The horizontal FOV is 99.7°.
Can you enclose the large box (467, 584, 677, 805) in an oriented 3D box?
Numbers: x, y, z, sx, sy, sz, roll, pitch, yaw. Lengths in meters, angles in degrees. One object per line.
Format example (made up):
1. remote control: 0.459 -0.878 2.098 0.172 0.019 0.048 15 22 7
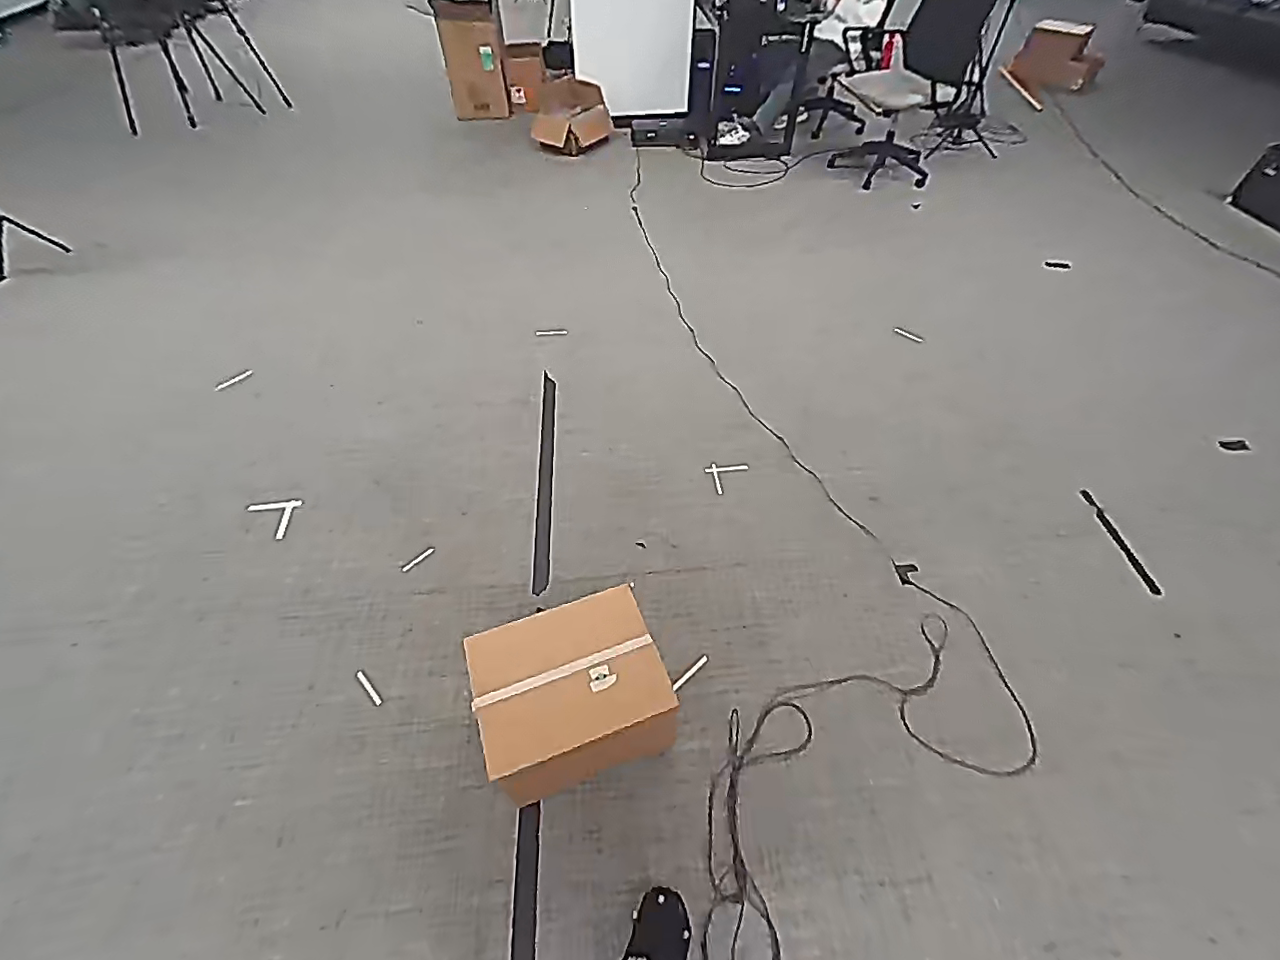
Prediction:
1. large box: -0.159 0.514 1.303 0.408 0.320 0.320 -16 52 -14
